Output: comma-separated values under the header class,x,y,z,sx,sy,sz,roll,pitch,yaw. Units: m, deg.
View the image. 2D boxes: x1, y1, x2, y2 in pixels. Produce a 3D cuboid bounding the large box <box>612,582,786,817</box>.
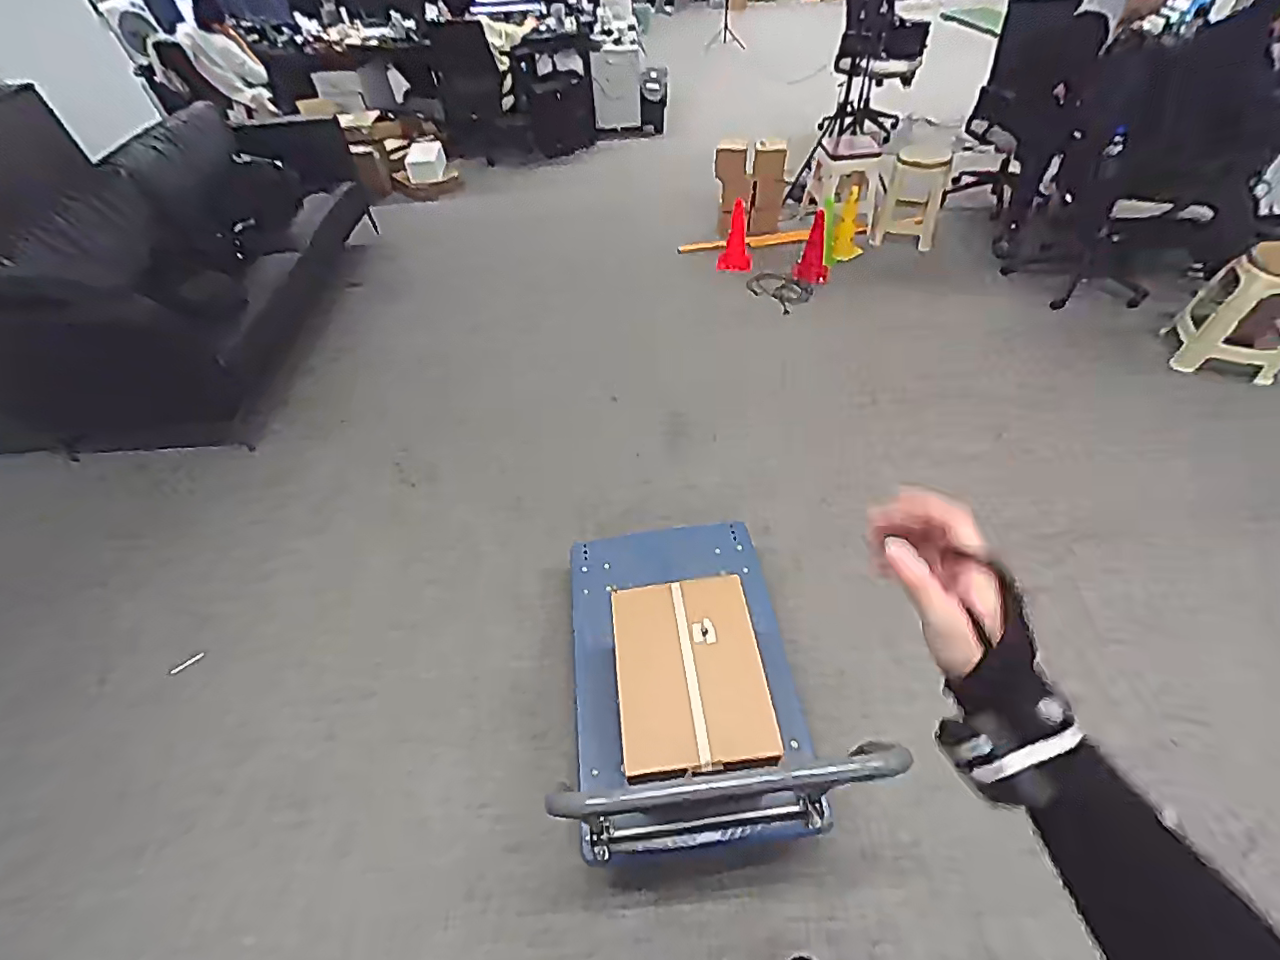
class,x,y,z,sx,sy,sz,roll,pitch,yaw
large box,0.121,0.511,1.269,0.320,0.320,0.408,-7,47,-1
